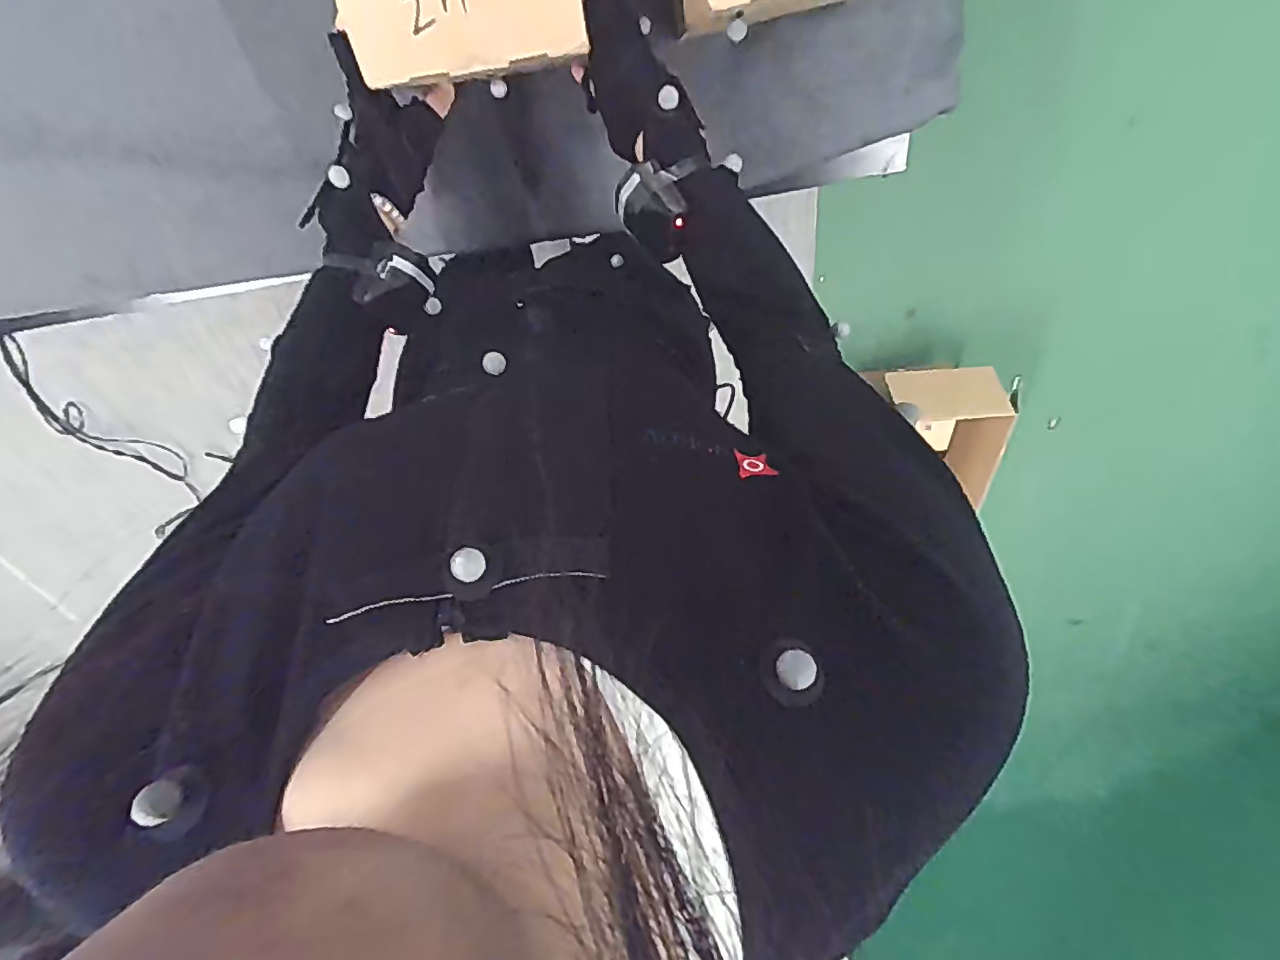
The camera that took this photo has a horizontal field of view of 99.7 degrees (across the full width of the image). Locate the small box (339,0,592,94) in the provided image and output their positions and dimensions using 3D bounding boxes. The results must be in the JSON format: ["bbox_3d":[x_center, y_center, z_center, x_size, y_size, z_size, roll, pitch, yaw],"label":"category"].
[{"bbox_3d":[-0.134,-0.410,0.406,0.168,0.176,0.179,-10,125,0],"label":"small box"}]
